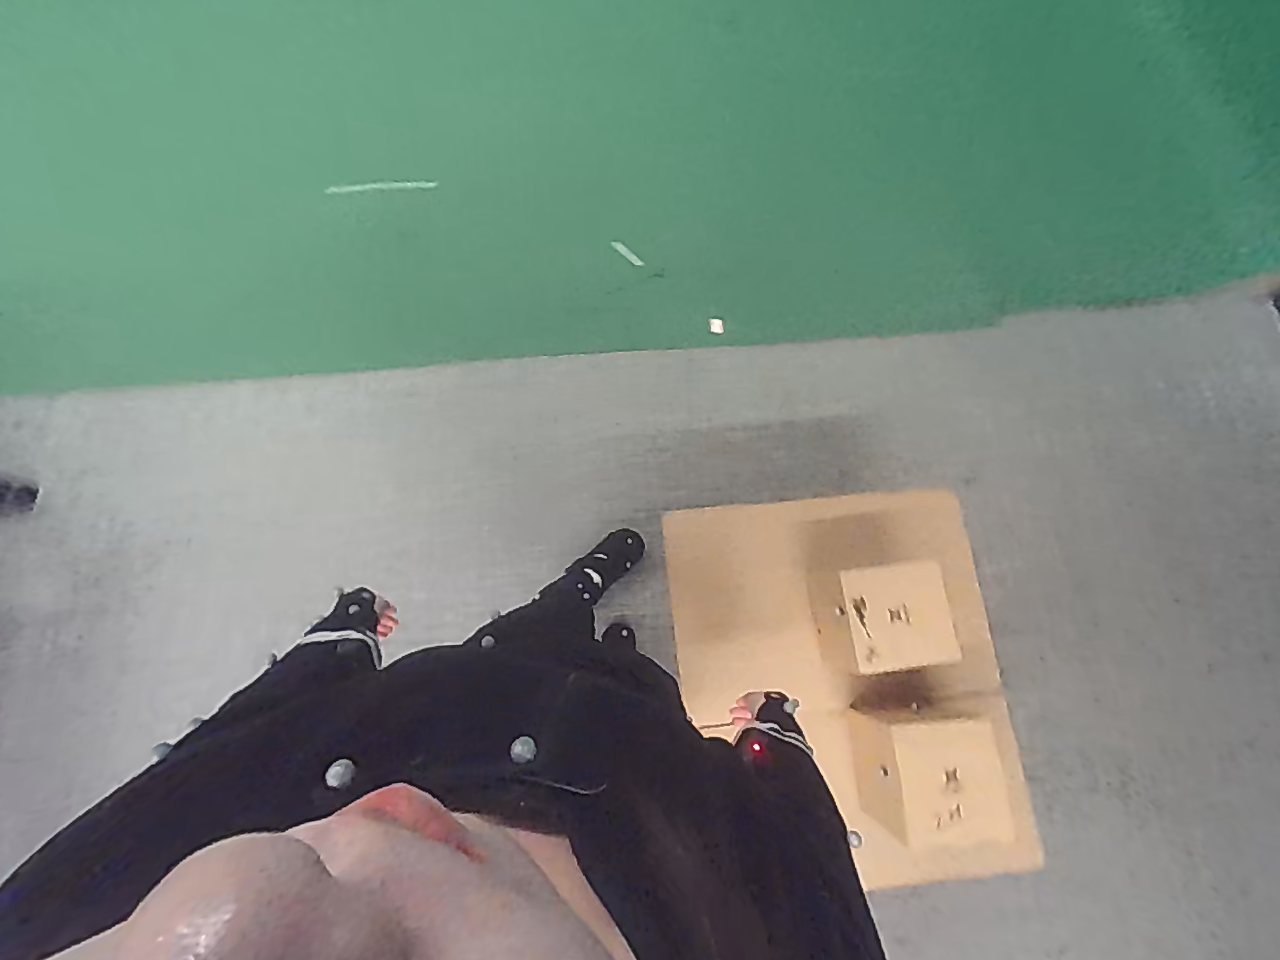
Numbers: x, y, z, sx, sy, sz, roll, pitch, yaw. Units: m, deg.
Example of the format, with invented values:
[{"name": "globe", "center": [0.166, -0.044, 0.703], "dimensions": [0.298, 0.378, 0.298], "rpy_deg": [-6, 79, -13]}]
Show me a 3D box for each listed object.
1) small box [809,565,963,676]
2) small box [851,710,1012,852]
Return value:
[{"name": "small box", "center": [0.422, 0.244, 0.955], "dimensions": [0.179, 0.176, 0.168], "rpy_deg": [-5, 76, -4]}, {"name": "small box", "center": [0.470, 0.487, 0.902], "dimensions": [0.168, 0.176, 0.179], "rpy_deg": [-2, 75, -2]}]
